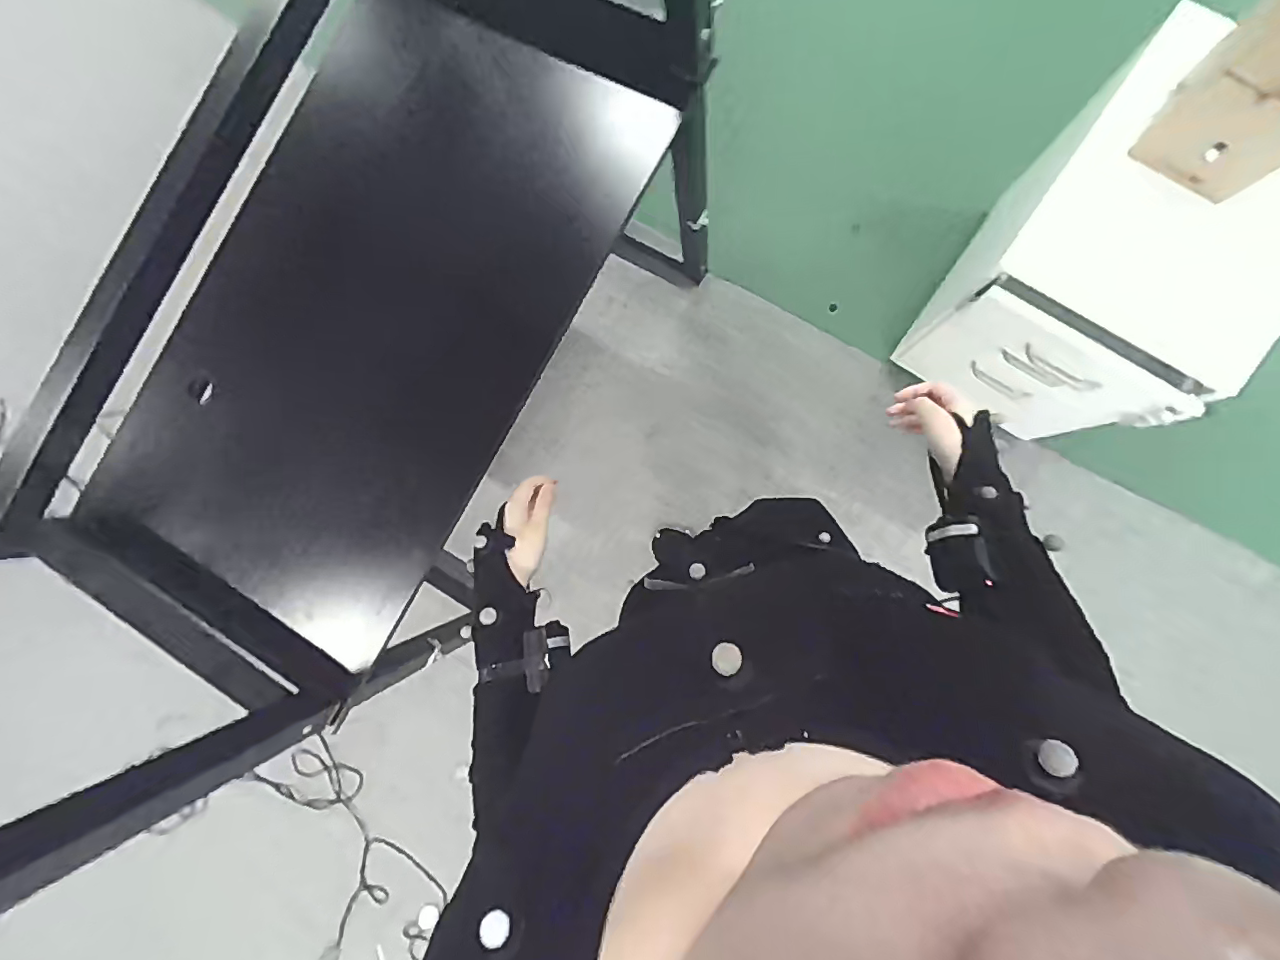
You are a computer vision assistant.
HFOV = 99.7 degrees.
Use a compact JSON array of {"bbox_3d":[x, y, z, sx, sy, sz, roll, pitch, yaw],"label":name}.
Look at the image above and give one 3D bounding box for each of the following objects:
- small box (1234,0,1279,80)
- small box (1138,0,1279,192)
[{"bbox_3d":[0.846,-0.552,0.593,0.179,0.176,0.168,37,92,7],"label":"small box"},{"bbox_3d":[0.866,-0.549,0.754,0.168,0.176,0.179,35,93,7],"label":"small box"}]
